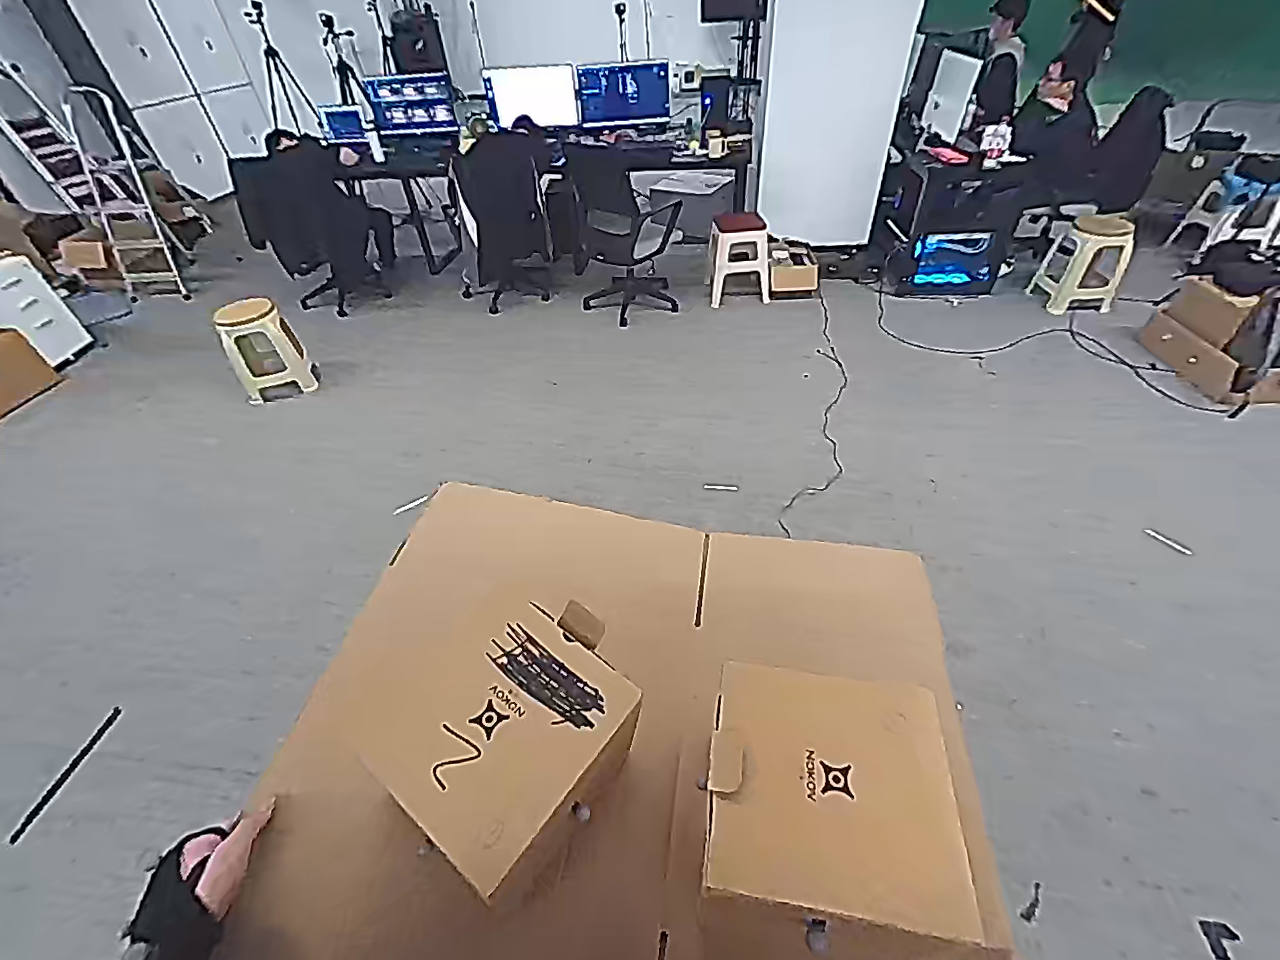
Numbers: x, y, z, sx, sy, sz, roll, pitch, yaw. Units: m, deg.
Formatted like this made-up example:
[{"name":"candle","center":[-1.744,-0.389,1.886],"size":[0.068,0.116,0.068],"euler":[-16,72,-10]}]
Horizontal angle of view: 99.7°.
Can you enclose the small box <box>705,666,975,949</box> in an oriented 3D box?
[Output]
[{"name":"small box","center":[0.152,0.288,0.475],"size":[0.179,0.176,0.168],"euler":[4,46,10]}]
